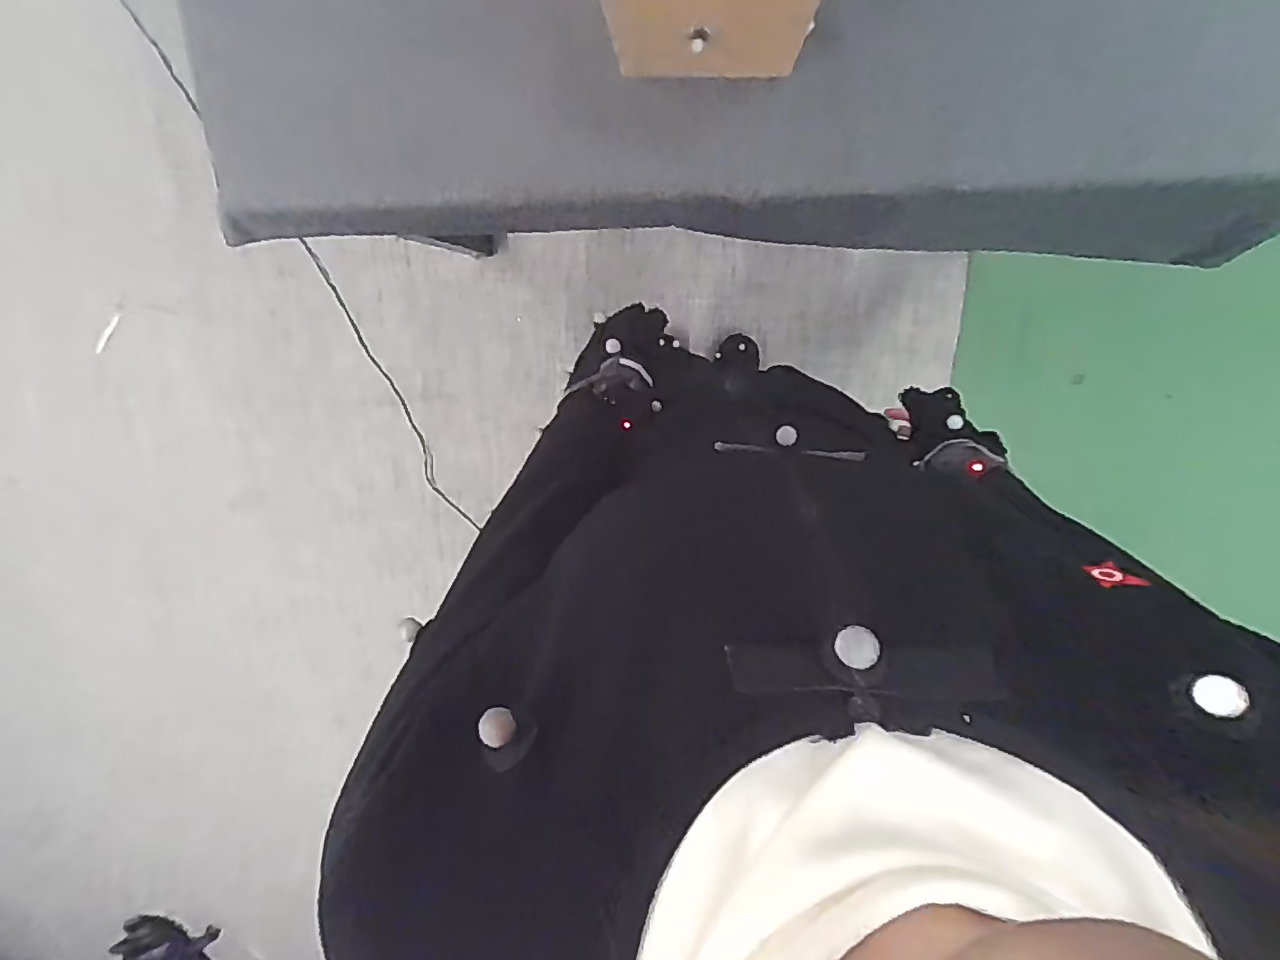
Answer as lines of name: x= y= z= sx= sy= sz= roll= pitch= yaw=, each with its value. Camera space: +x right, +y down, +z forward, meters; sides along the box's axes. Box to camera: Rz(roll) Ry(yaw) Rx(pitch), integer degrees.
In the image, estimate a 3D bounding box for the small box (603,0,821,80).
small box: x=0.065 y=-0.474 z=0.465 sx=0.179 sy=0.176 sz=0.168 roll=3 pitch=107 yaw=5
